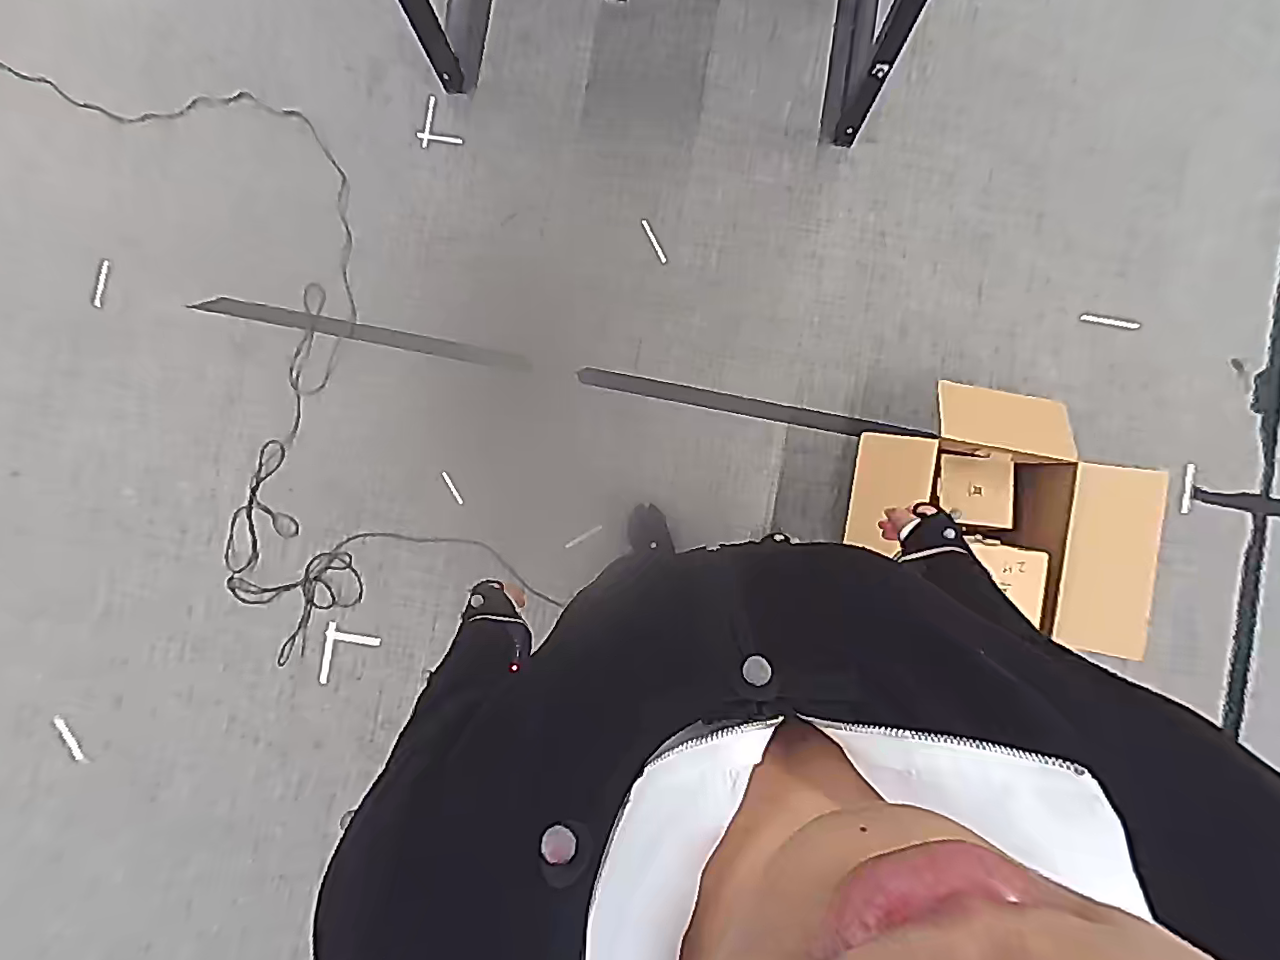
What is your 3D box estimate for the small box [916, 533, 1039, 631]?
[{"bbox_3d":[0.748,0.221,1.217,0.168,0.176,0.179,8,90,2],"label":"small box"}]
